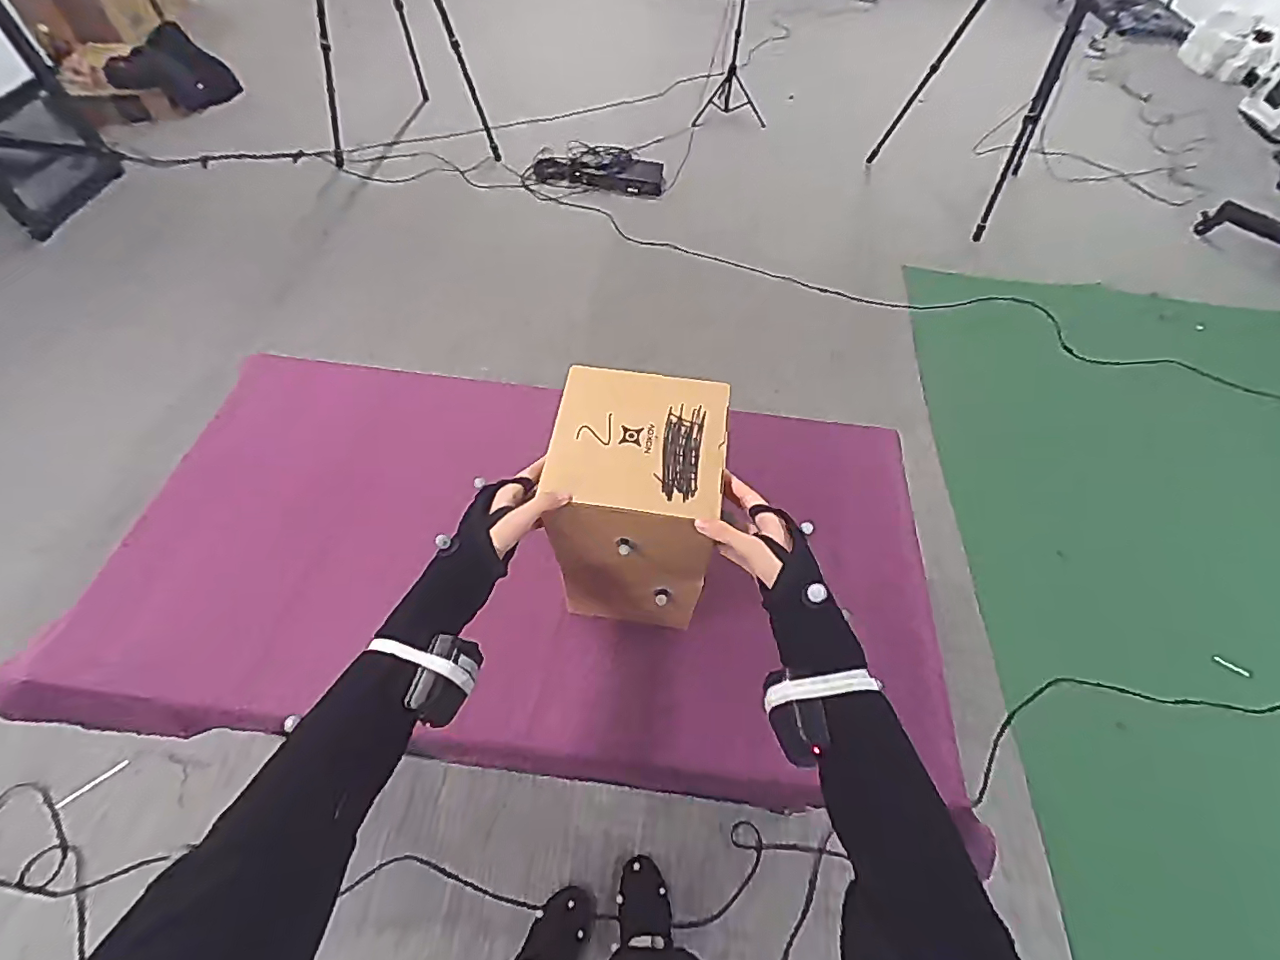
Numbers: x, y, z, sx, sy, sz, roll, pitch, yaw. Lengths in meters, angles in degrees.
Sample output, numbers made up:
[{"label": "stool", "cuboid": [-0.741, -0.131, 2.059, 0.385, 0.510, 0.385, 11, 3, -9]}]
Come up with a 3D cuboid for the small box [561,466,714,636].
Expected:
[{"label": "small box", "cuboid": [-0.002, 0.105, 0.751, 0.179, 0.176, 0.168, 8, 55, 3]}]
